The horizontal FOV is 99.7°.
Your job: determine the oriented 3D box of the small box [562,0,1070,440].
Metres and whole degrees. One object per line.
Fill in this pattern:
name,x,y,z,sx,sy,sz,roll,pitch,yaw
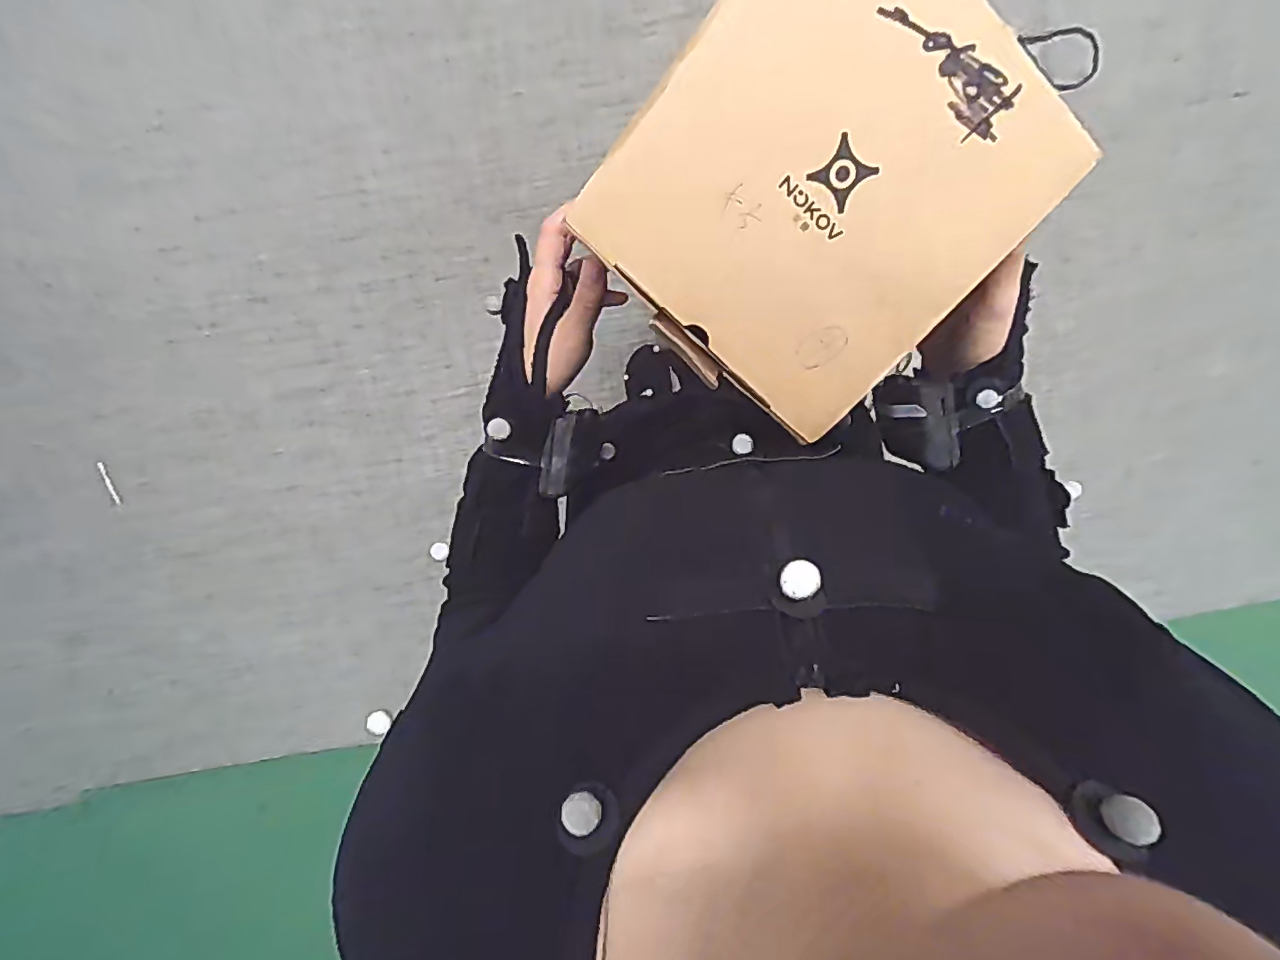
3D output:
small box,0.081,-0.158,0.324,0.168,0.176,0.179,38,108,-13
